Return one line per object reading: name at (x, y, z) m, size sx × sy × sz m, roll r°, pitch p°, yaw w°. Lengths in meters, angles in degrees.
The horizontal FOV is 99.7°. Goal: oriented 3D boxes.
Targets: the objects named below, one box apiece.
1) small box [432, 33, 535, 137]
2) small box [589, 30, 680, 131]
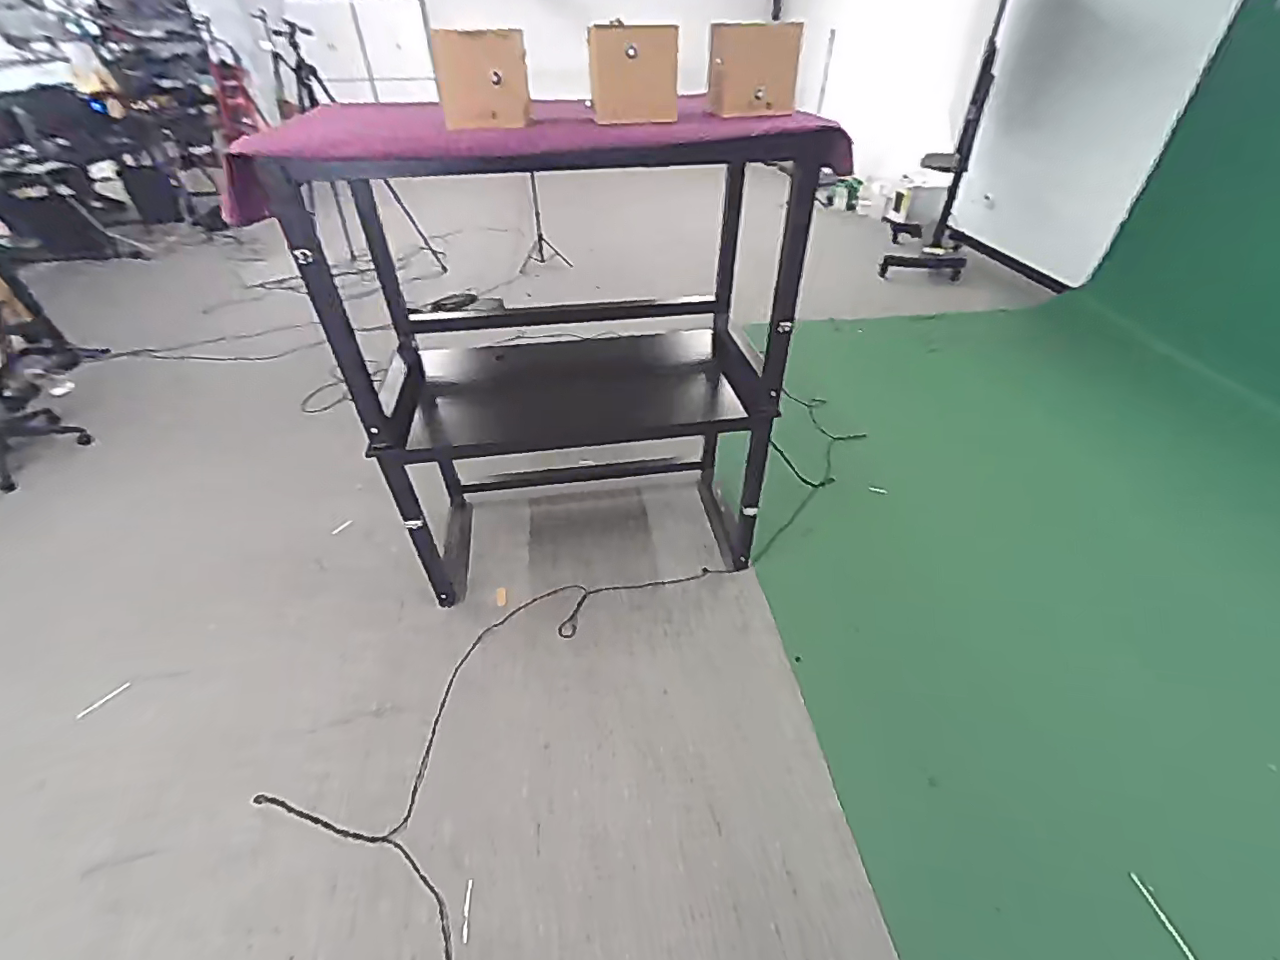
small box at (-0.323, -0.844, 1.157) m, size 0.168 × 0.176 × 0.179 m, roll -2°, pitch 40°, yaw -2°
small box at (-0.014, -0.876, 1.188) m, size 0.179 × 0.176 × 0.168 m, roll -6°, pitch 40°, yaw -7°
